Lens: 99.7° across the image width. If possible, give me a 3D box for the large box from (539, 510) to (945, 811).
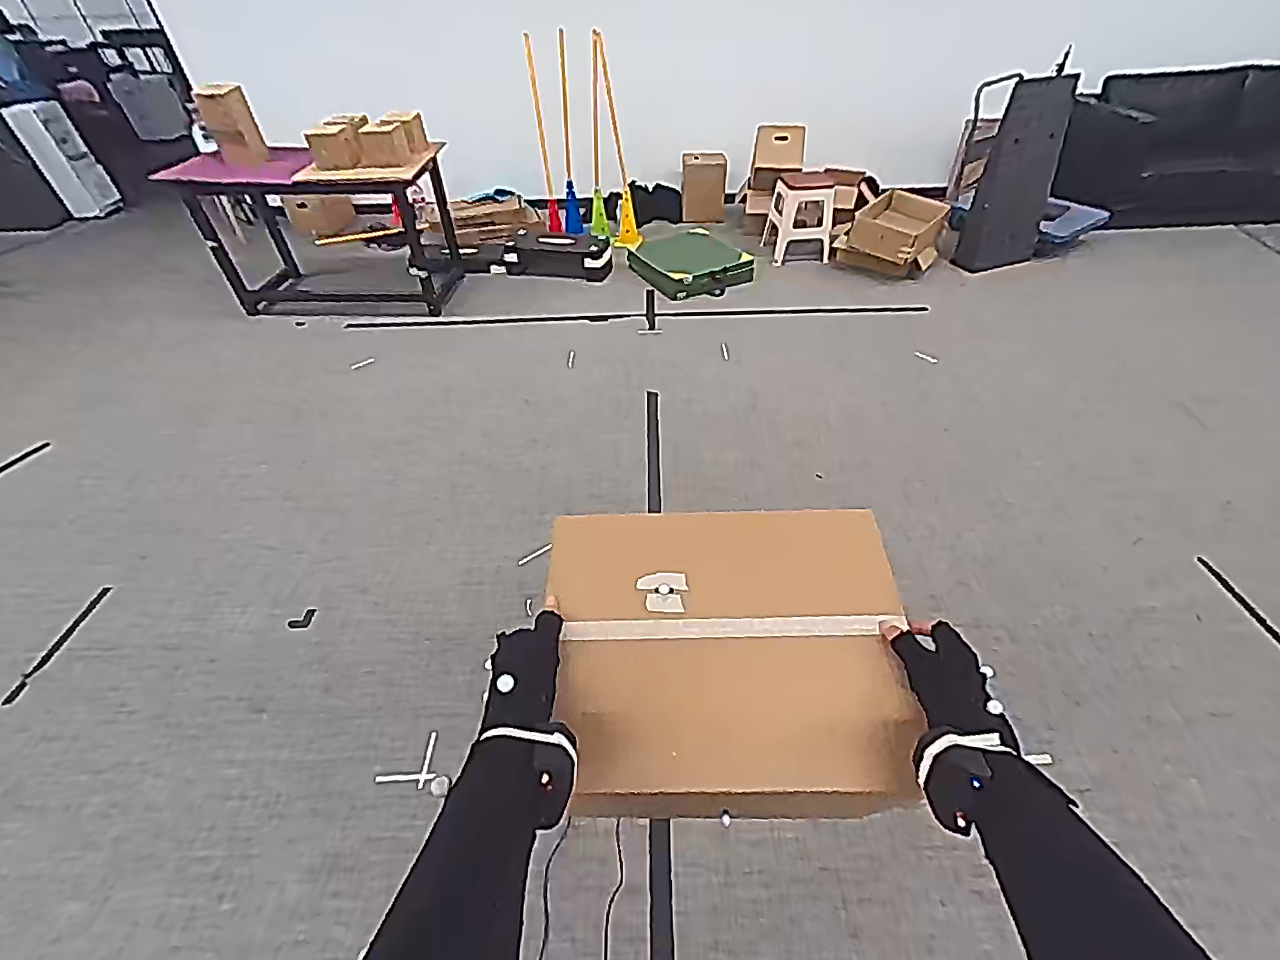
[{"bbox_3d":[0.106,0.257,0.732,0.408,0.320,0.320,-2,53,3],"label":"large box"}]
